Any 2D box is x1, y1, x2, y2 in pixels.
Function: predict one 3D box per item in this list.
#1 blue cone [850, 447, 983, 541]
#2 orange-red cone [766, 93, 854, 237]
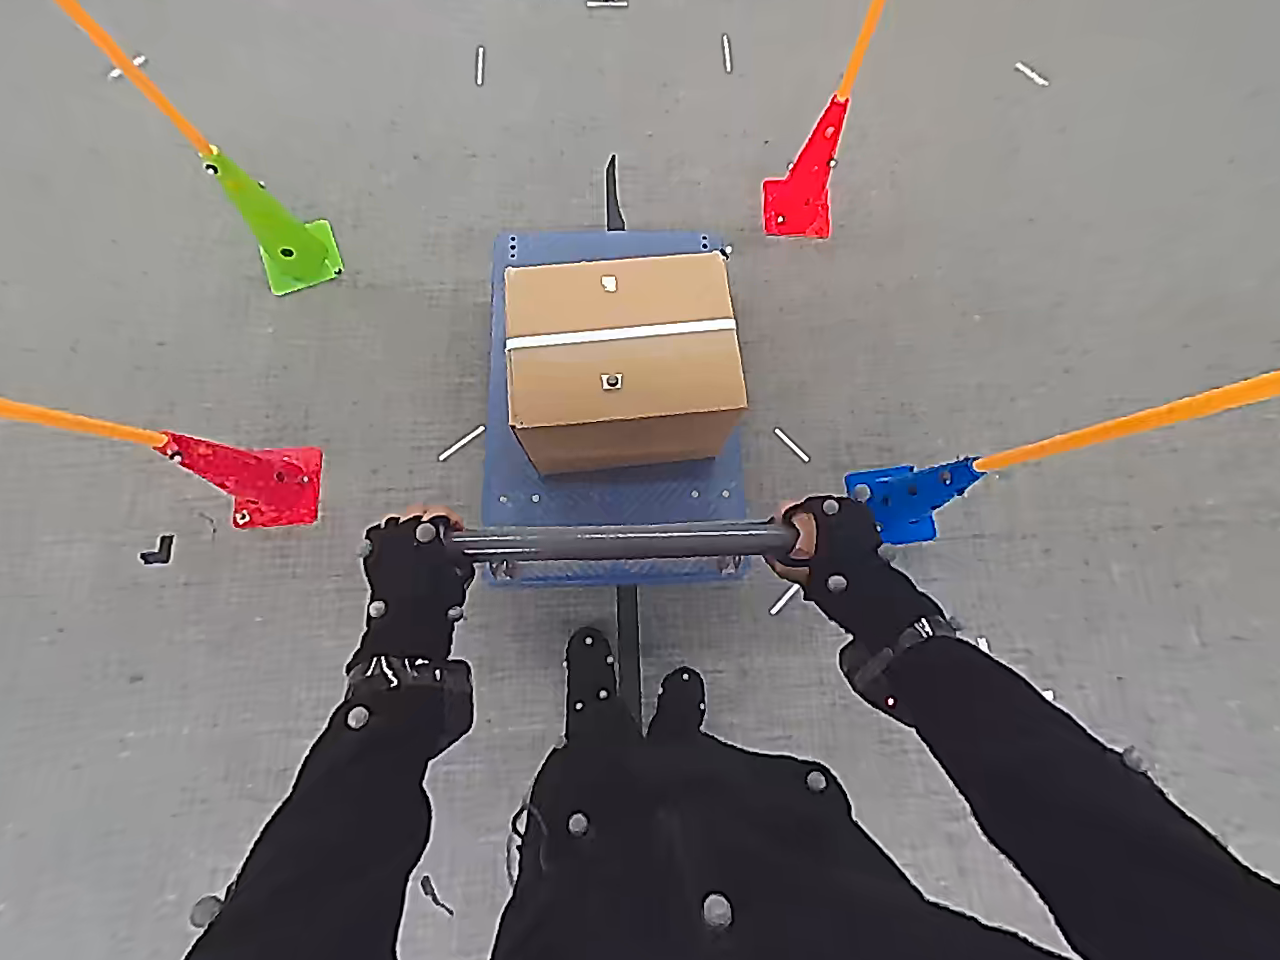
[{"bbox_3d":[0.653,0.014,1.232,0.193,0.380,0.192,-6,74,-4],"label":"blue cone"},{"bbox_3d":[0.483,-0.856,1.445,0.199,0.360,0.198,4,76,-2],"label":"orange-red cone"}]
